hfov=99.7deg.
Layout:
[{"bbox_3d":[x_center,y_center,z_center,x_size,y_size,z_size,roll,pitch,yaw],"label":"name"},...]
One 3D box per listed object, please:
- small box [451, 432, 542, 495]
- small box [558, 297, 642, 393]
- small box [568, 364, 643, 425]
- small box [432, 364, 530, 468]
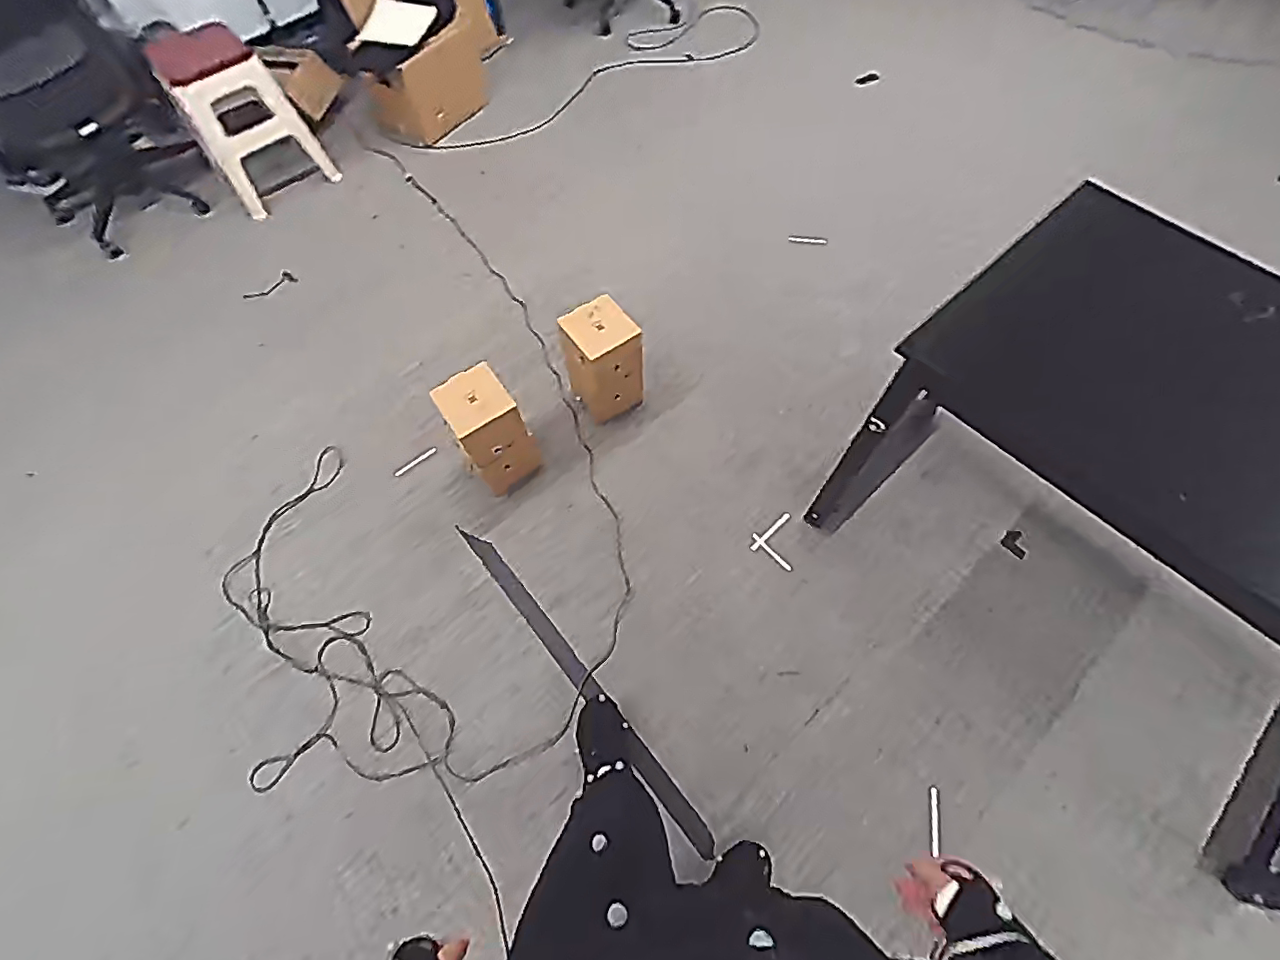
[{"bbox_3d":[-0.410,-0.087,1.573,0.179,0.176,0.168,-38,68,-15],"label":"small box"},{"bbox_3d":[-0.106,-0.368,1.519,0.168,0.176,0.179,-33,67,-15],"label":"small box"},{"bbox_3d":[-0.104,-0.304,1.672,0.179,0.176,0.168,-31,66,-12],"label":"small box"},{"bbox_3d":[-0.413,-0.164,1.429,0.168,0.176,0.179,-34,68,-14],"label":"small box"}]
